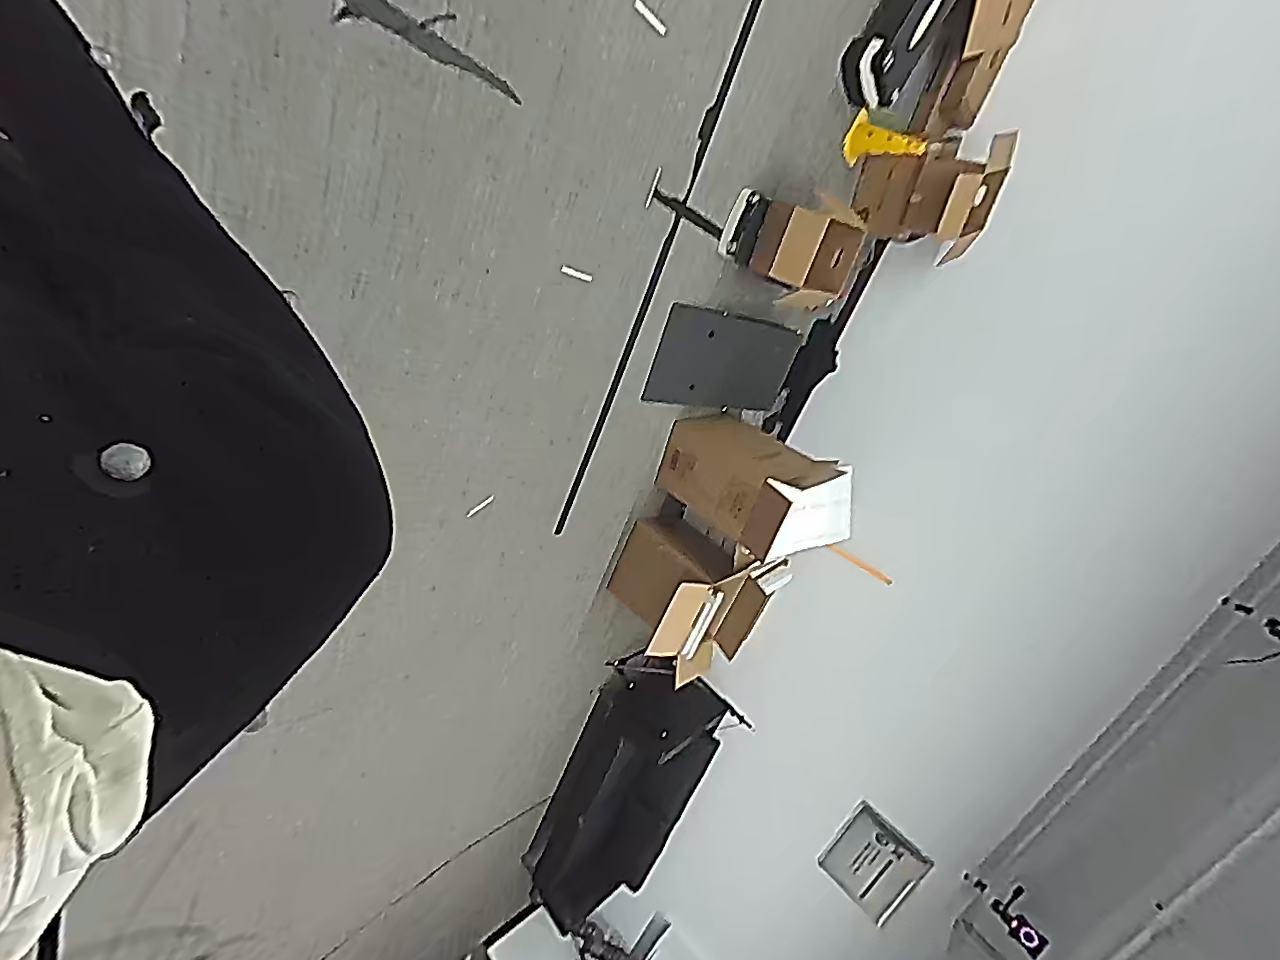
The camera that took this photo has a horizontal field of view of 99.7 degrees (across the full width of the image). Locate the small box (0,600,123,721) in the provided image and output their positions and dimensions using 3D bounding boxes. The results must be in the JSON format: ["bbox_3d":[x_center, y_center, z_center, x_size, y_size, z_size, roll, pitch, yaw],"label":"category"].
[{"bbox_3d":[-1.323,0.401,1.237,0.179,0.176,0.168,-10,128,-49],"label":"small box"}]
